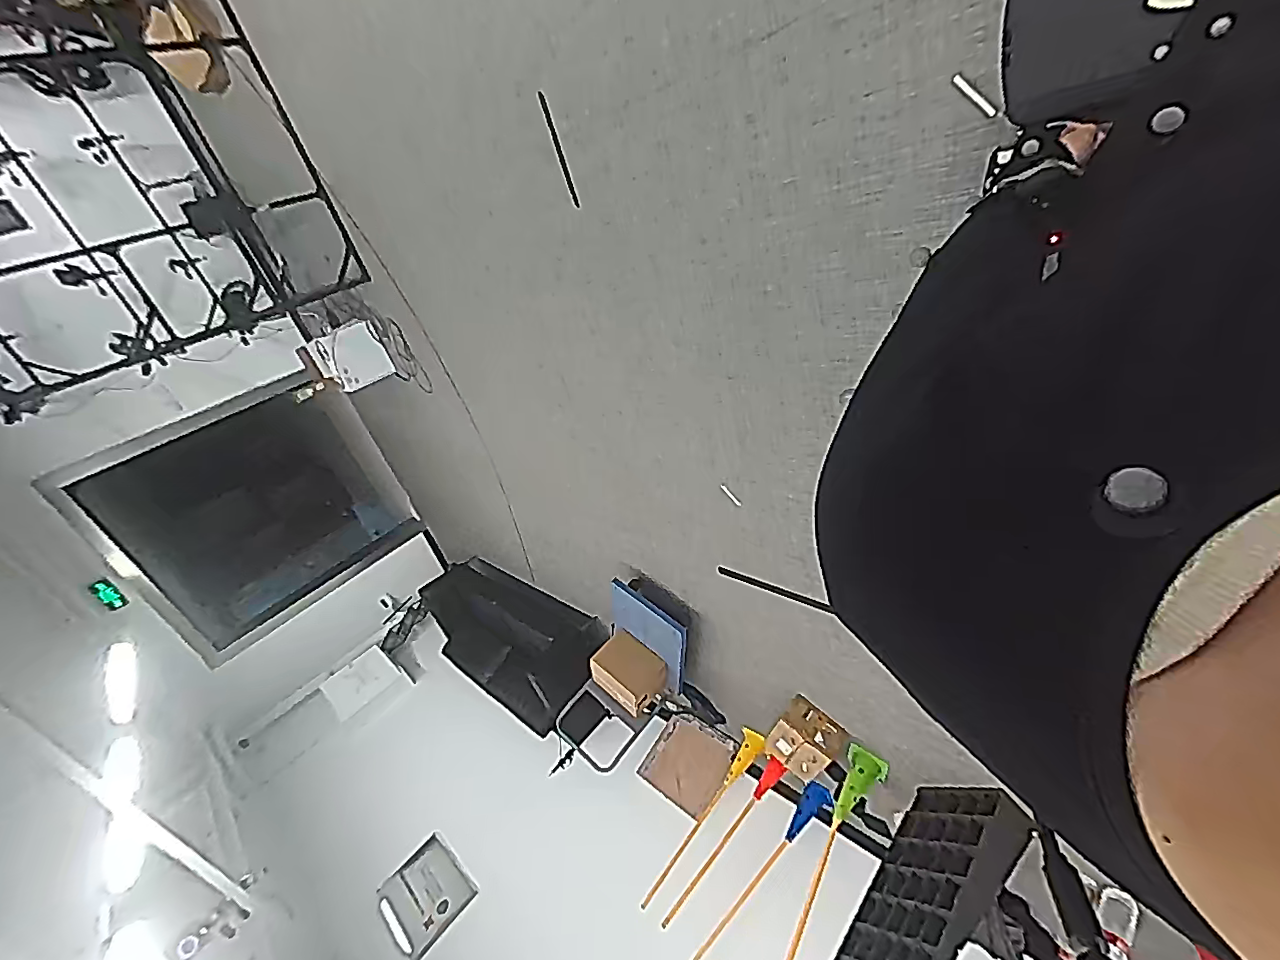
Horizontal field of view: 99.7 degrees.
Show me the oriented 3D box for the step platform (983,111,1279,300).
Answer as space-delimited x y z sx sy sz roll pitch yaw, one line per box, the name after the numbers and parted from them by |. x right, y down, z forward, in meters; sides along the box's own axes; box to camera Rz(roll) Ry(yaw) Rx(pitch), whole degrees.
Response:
1.003 -0.477 0.942 0.684 0.204 0.286 19 134 43 | step platform
